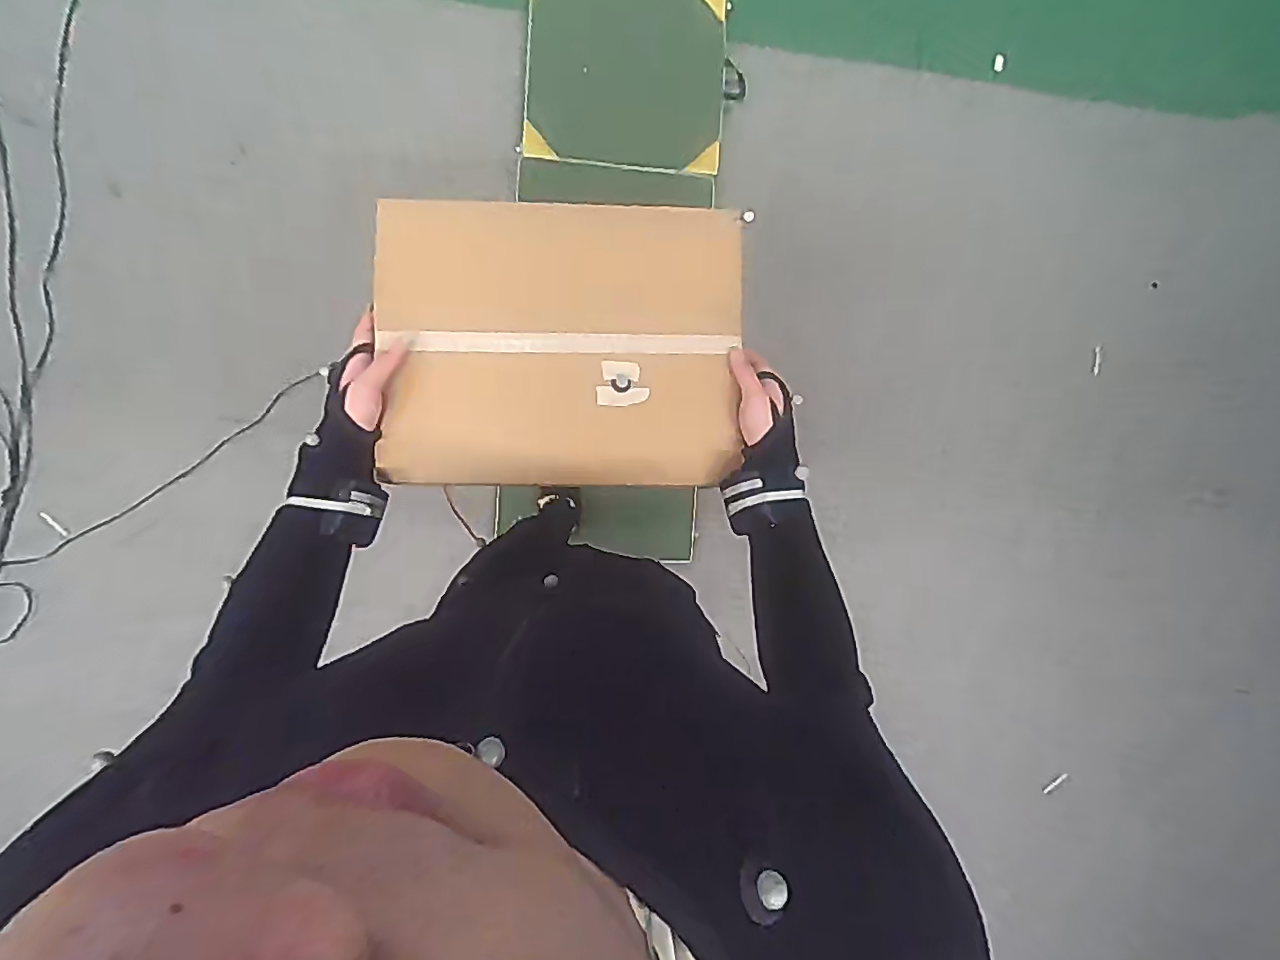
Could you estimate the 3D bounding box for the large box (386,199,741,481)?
[{"bbox_3d":[-0.093,-0.158,0.758,0.408,0.320,0.320,0,90,-4],"label":"large box"}]
